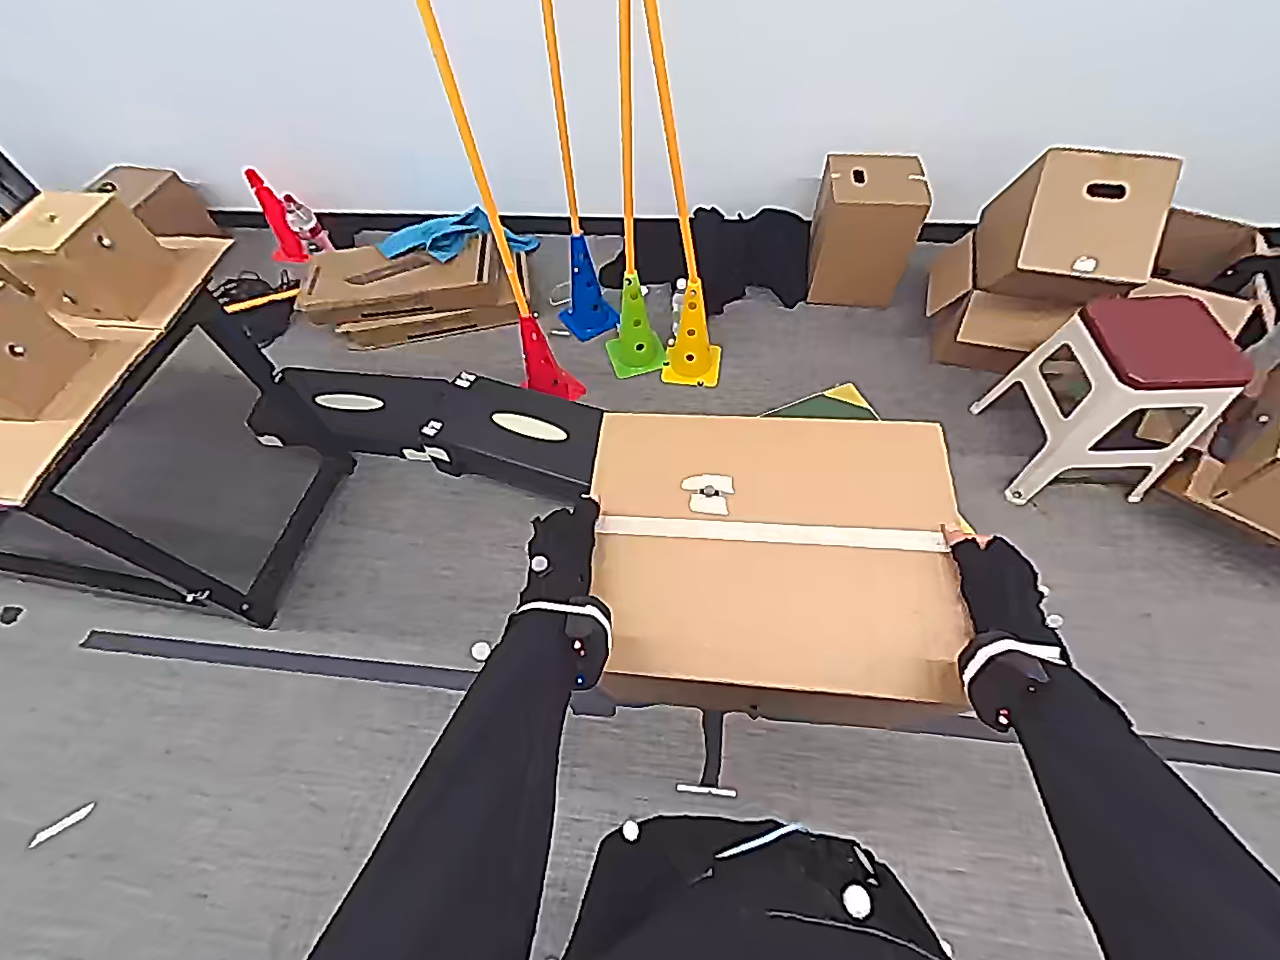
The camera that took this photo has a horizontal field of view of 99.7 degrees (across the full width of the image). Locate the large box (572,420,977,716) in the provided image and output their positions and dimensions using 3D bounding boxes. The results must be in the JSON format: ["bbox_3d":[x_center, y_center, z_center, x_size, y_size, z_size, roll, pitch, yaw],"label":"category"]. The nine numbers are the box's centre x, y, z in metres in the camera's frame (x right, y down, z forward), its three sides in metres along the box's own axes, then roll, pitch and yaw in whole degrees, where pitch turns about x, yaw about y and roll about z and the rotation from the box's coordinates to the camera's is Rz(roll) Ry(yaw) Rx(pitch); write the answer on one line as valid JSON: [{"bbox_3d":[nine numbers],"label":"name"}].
[{"bbox_3d":[0.157,0.131,0.735,0.408,0.320,0.320,3,62,9],"label":"large box"}]
